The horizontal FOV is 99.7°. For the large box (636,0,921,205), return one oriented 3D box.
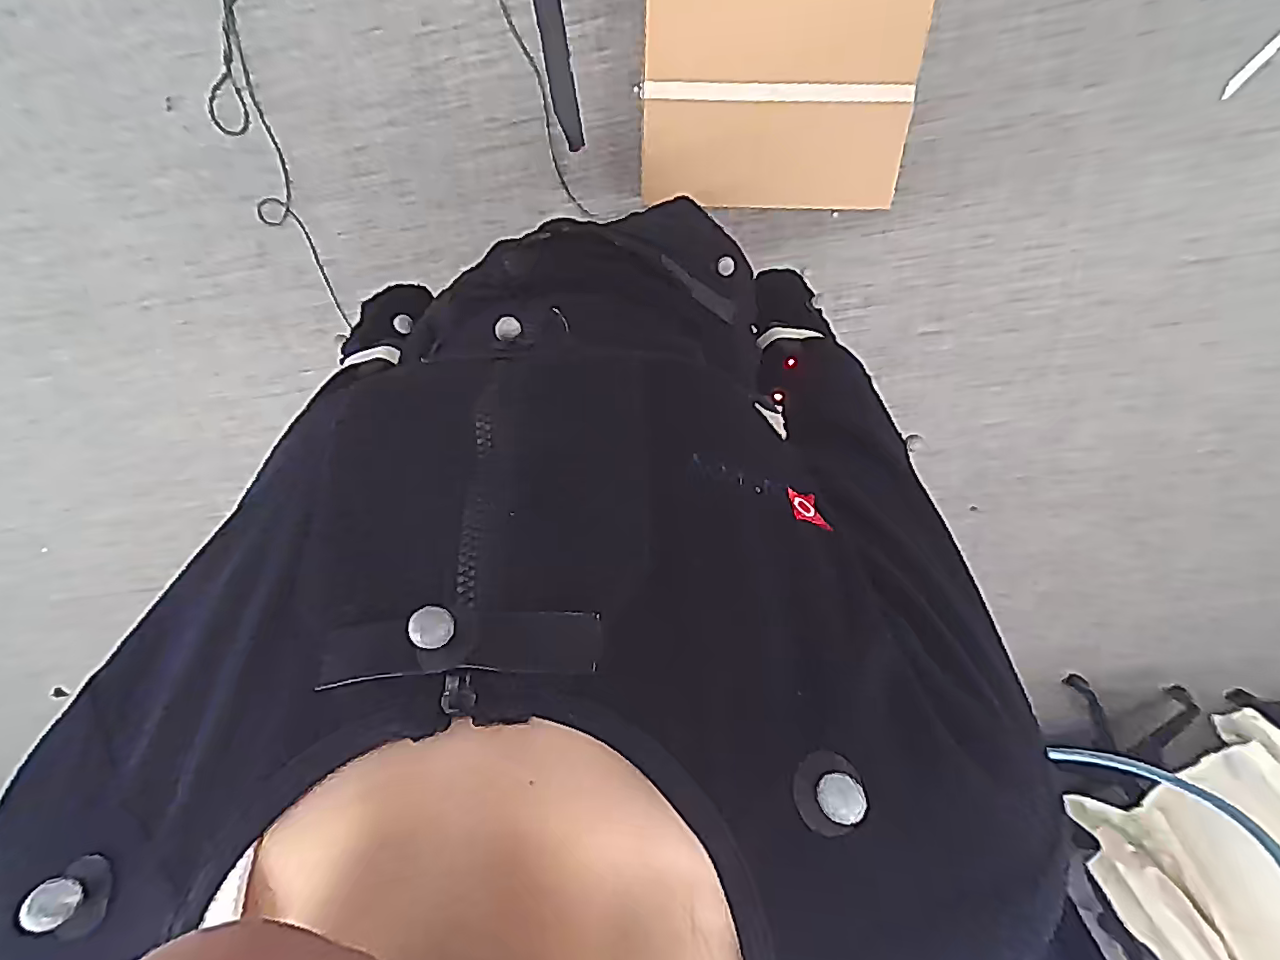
[{"bbox_3d":[0.197,-0.664,0.936,0.408,0.320,0.320,1,120,-1],"label":"large box"}]
